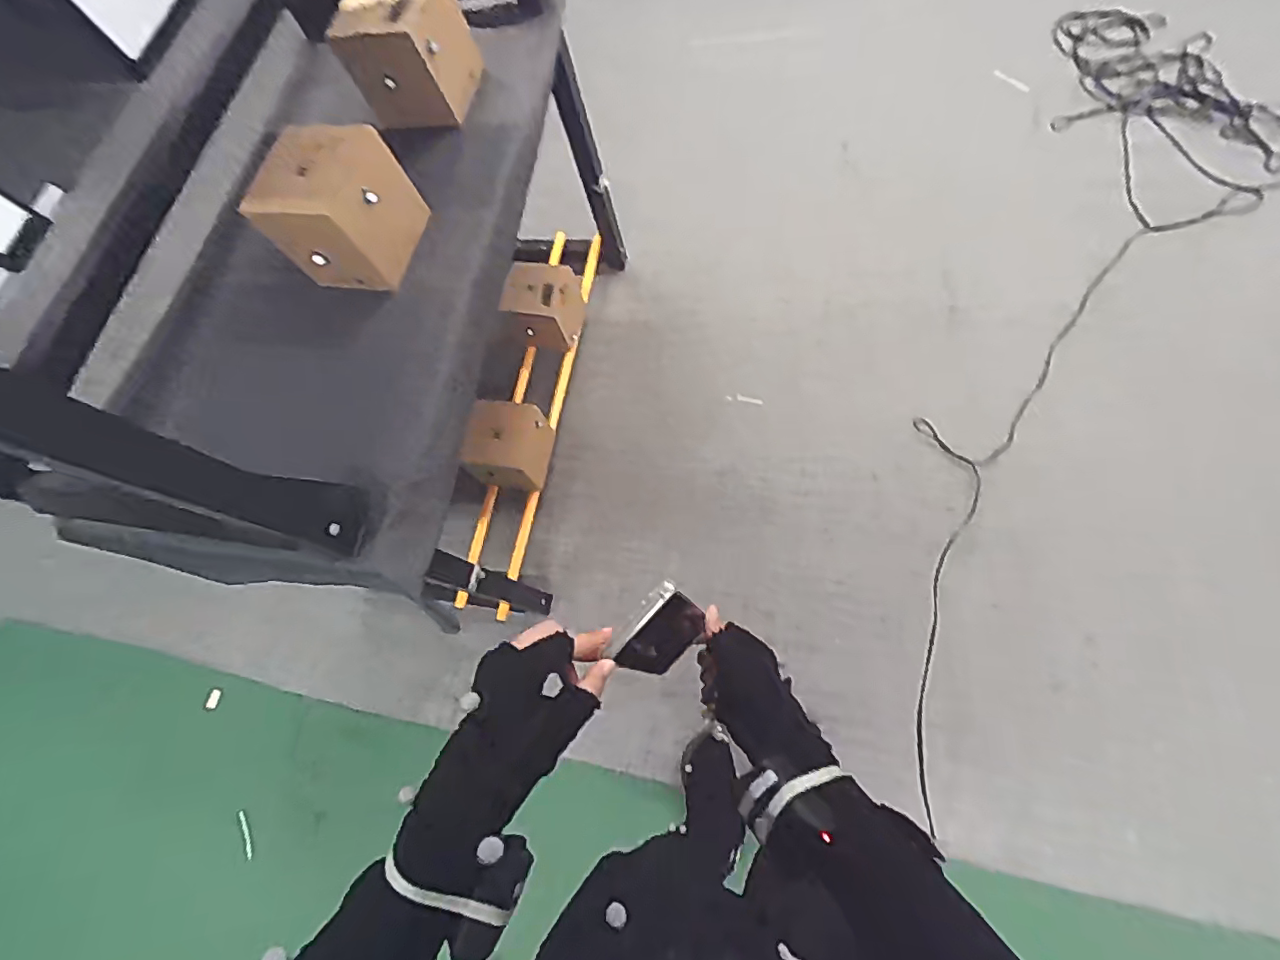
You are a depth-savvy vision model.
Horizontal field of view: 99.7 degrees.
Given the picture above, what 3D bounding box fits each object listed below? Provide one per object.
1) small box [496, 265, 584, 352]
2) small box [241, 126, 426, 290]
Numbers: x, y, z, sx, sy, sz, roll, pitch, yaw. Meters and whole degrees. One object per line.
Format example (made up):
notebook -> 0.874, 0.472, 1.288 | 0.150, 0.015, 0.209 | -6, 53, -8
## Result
small box -> -0.273, -0.480, 1.530 | 0.179, 0.176, 0.168 | 9, 71, 14
small box -> -0.480, -0.433, 0.877 | 0.168, 0.176, 0.179 | 9, 72, 14
